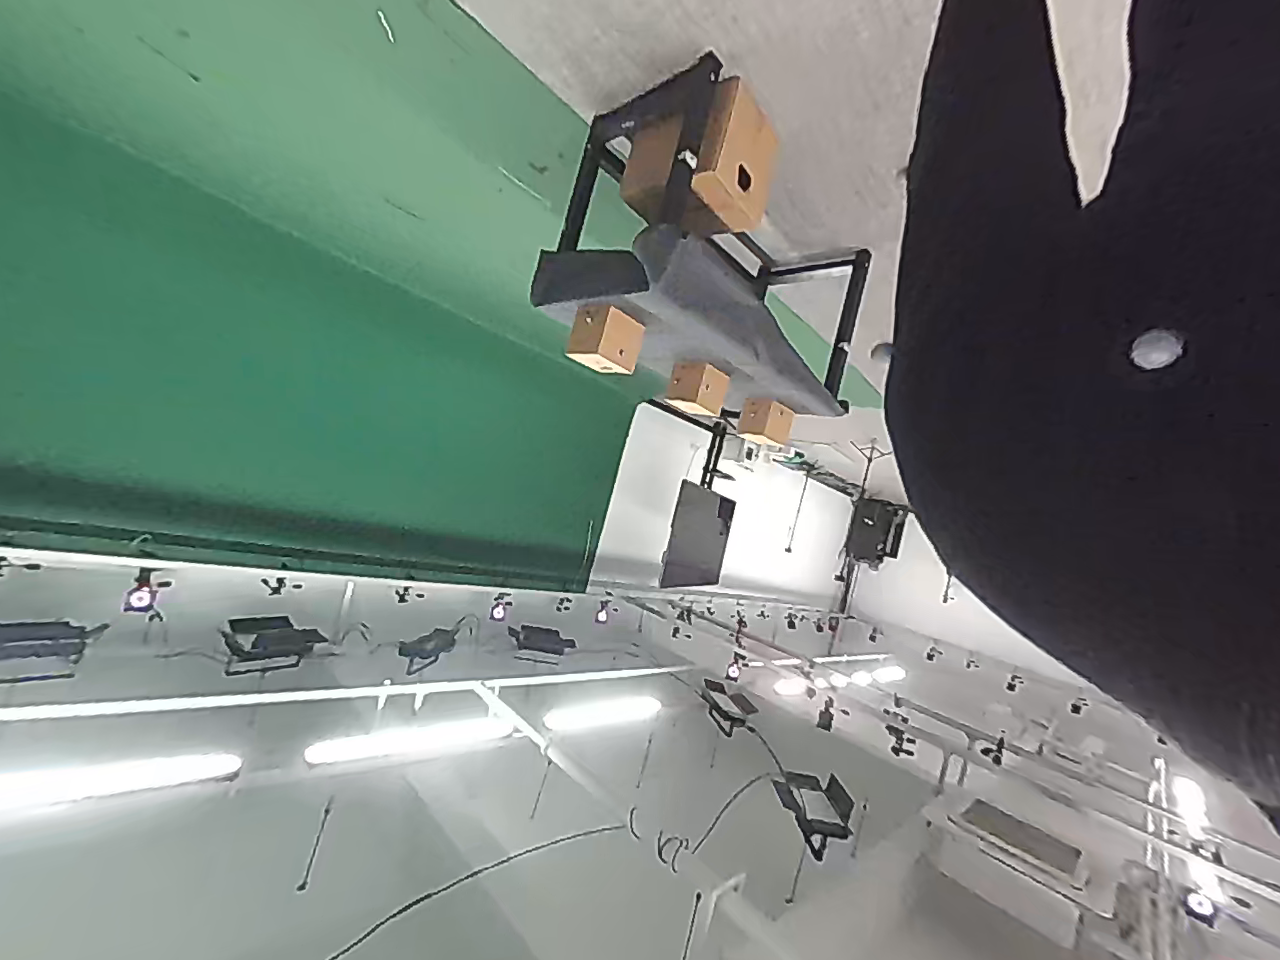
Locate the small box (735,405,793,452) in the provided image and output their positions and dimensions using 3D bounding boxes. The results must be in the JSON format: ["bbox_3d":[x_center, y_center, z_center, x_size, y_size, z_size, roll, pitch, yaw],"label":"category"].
[{"bbox_3d":[0.565,-0.238,2.460,0.179,0.176,0.168,19,176,-39],"label":"small box"}]

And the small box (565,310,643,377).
[{"bbox_3d":[-0.116,-0.459,1.817,0.168,0.176,0.179,13,176,42],"label":"small box"}]

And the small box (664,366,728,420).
[{"bbox_3d":[0.228,-0.350,2.166,0.168,0.176,0.179,15,179,43],"label":"small box"}]
